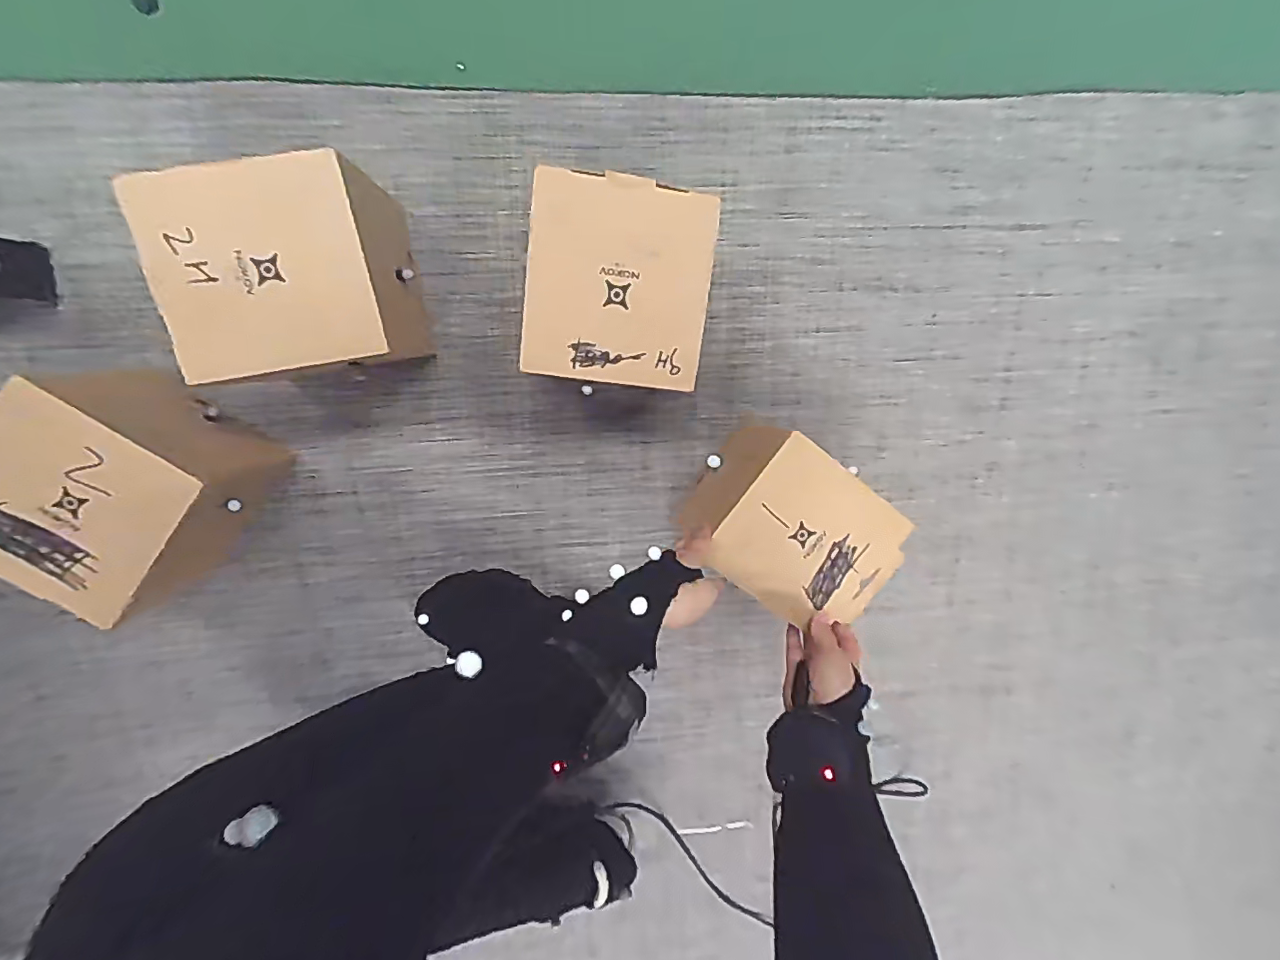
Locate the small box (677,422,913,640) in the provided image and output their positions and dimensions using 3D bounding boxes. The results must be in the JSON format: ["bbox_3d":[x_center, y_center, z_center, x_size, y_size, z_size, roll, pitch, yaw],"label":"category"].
[{"bbox_3d":[0.167,0.047,0.639,0.179,0.176,0.168,35,97,-12],"label":"small box"}]

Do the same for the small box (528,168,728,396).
[{"bbox_3d":[-0.022,-0.189,0.563,0.168,0.176,0.179,6,102,-8],"label":"small box"}]

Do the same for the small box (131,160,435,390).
[{"bbox_3d":[-0.317,-0.188,0.531,0.179,0.176,0.168,-11,103,-4],"label":"small box"}]
